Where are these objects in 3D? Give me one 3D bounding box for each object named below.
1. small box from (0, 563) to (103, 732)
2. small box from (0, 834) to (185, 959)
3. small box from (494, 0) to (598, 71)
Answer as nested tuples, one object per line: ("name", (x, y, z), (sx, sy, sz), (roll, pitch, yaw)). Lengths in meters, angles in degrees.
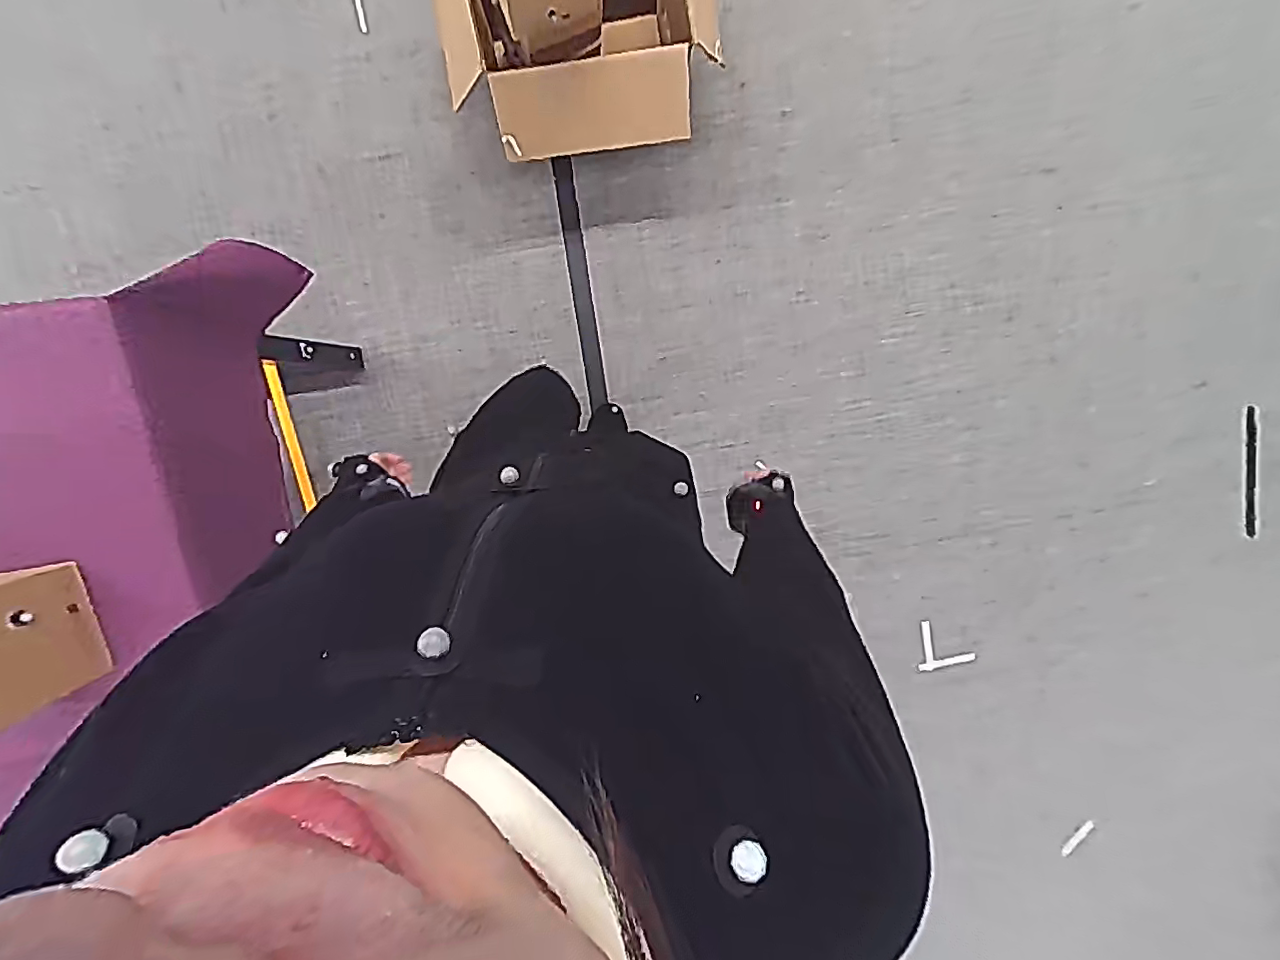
("small box", (-0.841, 0.215, 0.679), (0.179, 0.176, 0.168), (-9, 99, 0))
("small box", (-0.783, 0.629, 0.750), (0.179, 0.176, 0.168), (-6, 99, 0))
("small box", (-0.190, -0.960, 1.060), (0.179, 0.176, 0.168), (-31, 103, 0))
